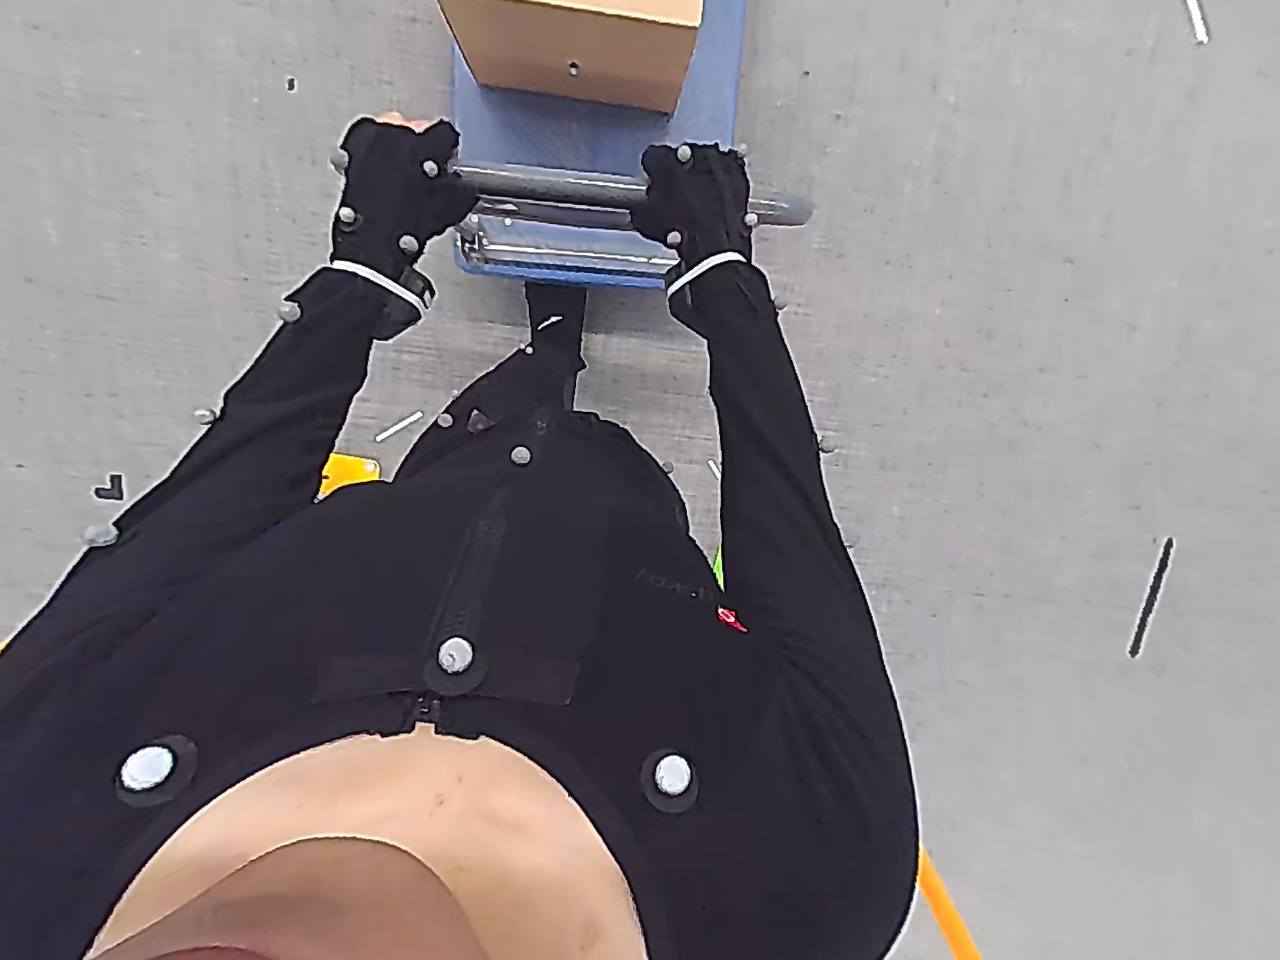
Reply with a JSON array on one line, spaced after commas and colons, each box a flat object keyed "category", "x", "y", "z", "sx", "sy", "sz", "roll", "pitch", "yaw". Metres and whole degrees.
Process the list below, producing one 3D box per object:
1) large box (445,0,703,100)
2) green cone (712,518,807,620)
[{"category": "large box", "x": -0.098, "y": -0.899, "z": 0.918, "sx": 0.408, "sy": 0.320, "sz": 0.320, "roll": 5, "pitch": 103, "yaw": -5}, {"category": "green cone", "x": 0.330, "y": 0.253, "z": 1.368, "sx": 0.202, "sy": 0.368, "sz": 0.200, "roll": 10, "pitch": 102, "yaw": -7}]
